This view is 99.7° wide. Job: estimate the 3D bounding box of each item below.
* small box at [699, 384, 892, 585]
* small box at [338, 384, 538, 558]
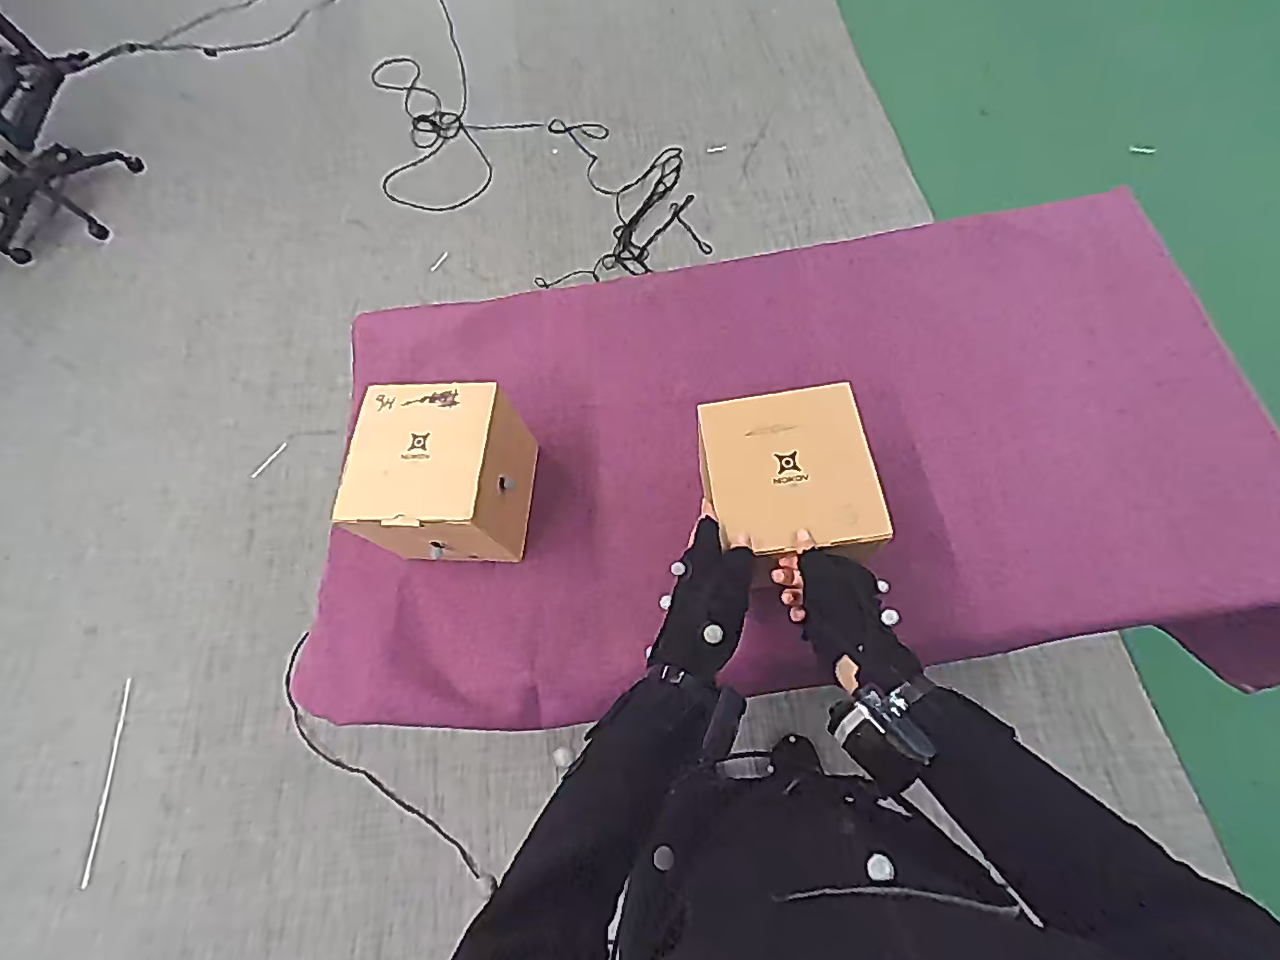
[{"bbox_3d":[0.163,0.018,0.622,0.168,0.176,0.179,-8,66,4],"label":"small box"},{"bbox_3d":[-0.238,-0.003,0.686,0.168,0.176,0.179,0,68,8],"label":"small box"}]
